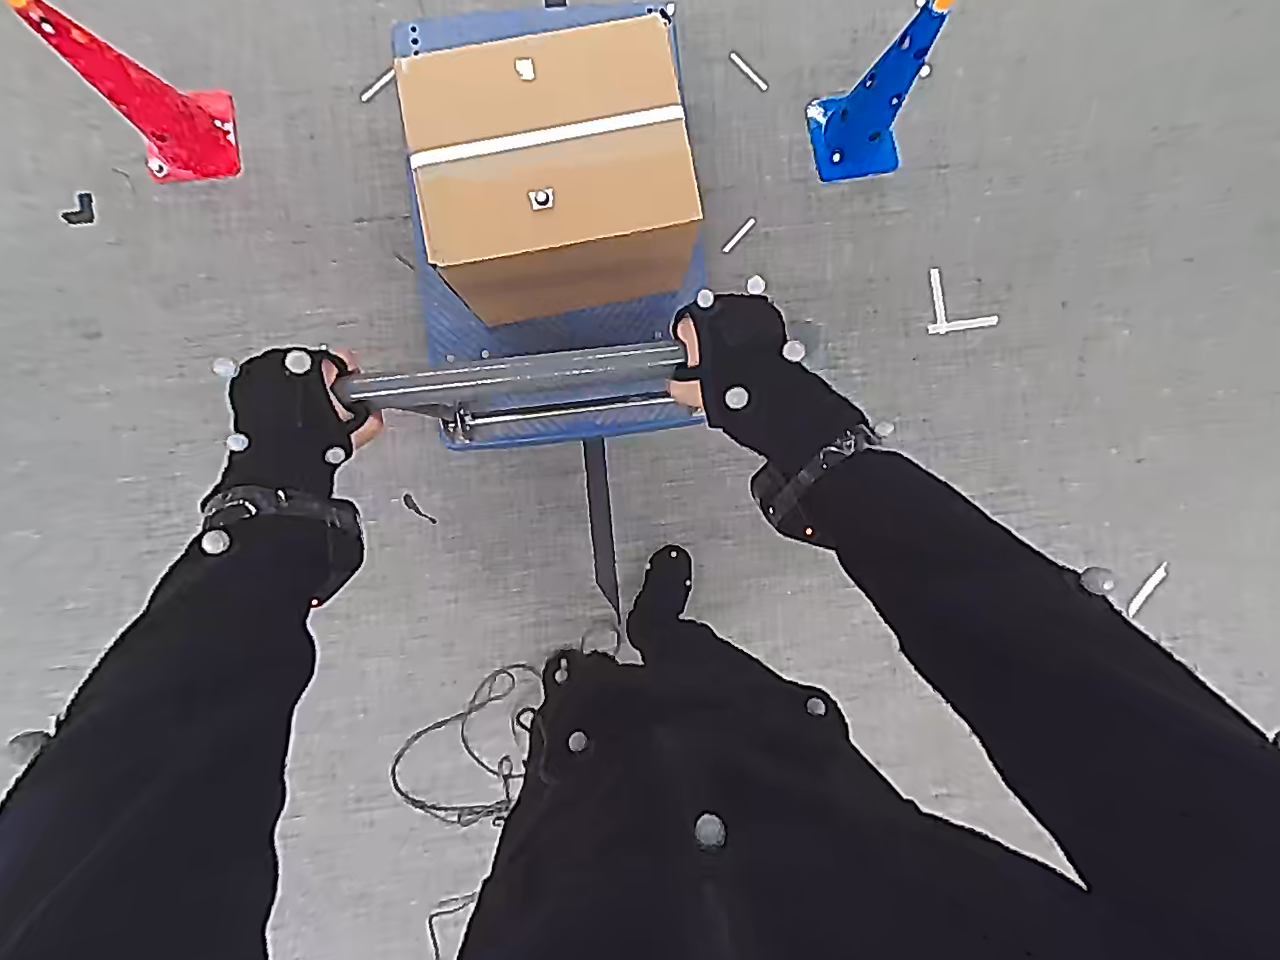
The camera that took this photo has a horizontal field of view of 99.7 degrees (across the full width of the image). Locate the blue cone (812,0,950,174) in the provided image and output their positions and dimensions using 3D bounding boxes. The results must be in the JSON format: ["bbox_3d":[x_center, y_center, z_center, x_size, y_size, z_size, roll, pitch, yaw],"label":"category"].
[{"bbox_3d":[0.523,-0.834,1.129,0.193,0.380,0.192,-10,89,-2],"label":"blue cone"}]
